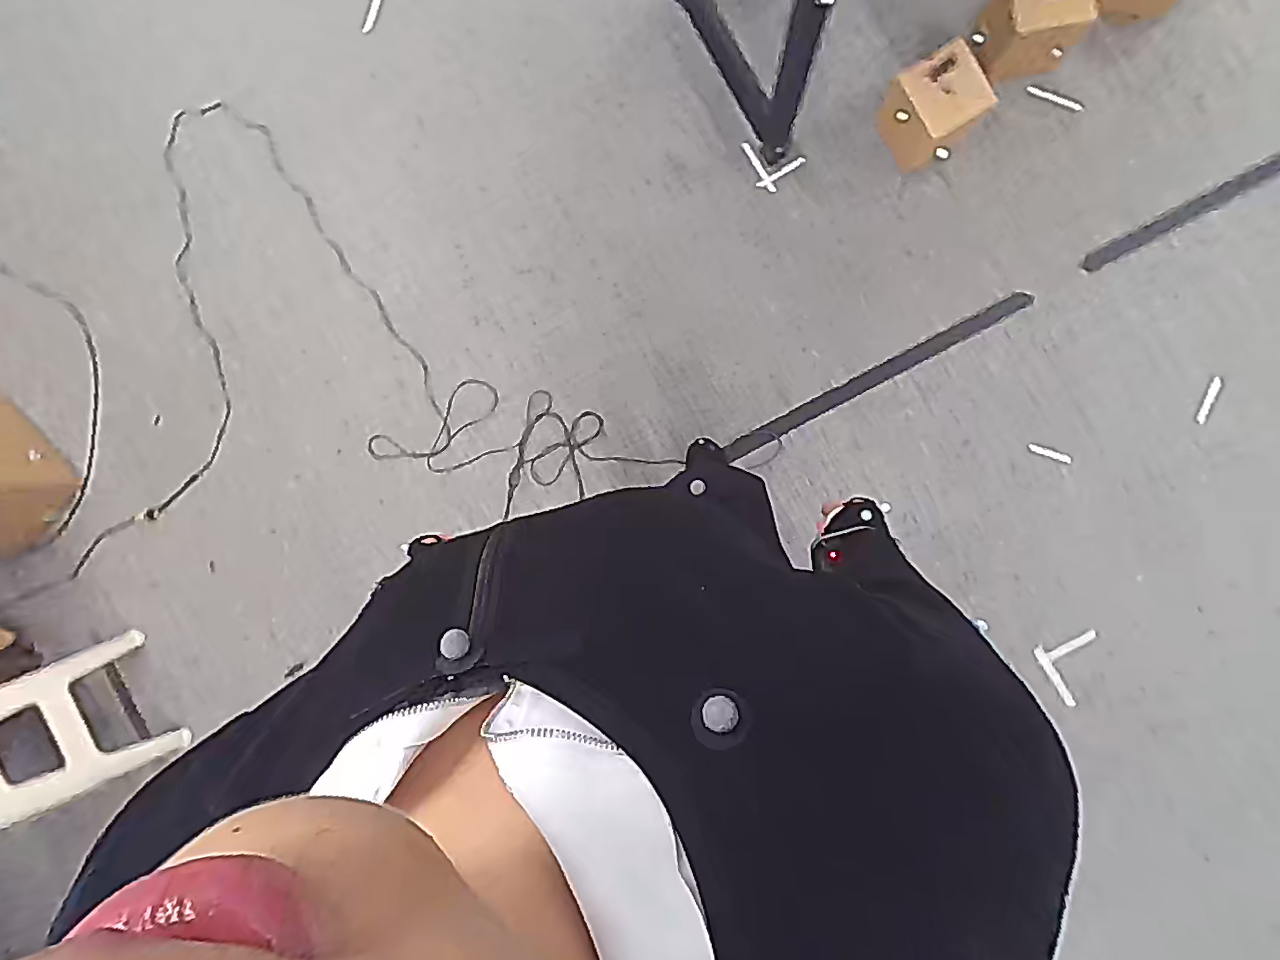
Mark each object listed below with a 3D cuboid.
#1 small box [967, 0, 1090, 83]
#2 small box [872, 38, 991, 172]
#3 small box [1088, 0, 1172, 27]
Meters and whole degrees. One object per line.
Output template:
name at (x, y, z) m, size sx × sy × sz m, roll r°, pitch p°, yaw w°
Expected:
small box at (0.932, -1.113, 1.310) m, size 0.179 × 0.176 × 0.168 m, roll -8°, pitch 90°, yaw 7°
small box at (0.707, -0.913, 1.335) m, size 0.168 × 0.176 × 0.179 m, roll -30°, pitch 90°, yaw 6°
small box at (1.206, -1.238, 1.278) m, size 0.168 × 0.176 × 0.179 m, roll 15°, pitch 93°, yaw 5°
